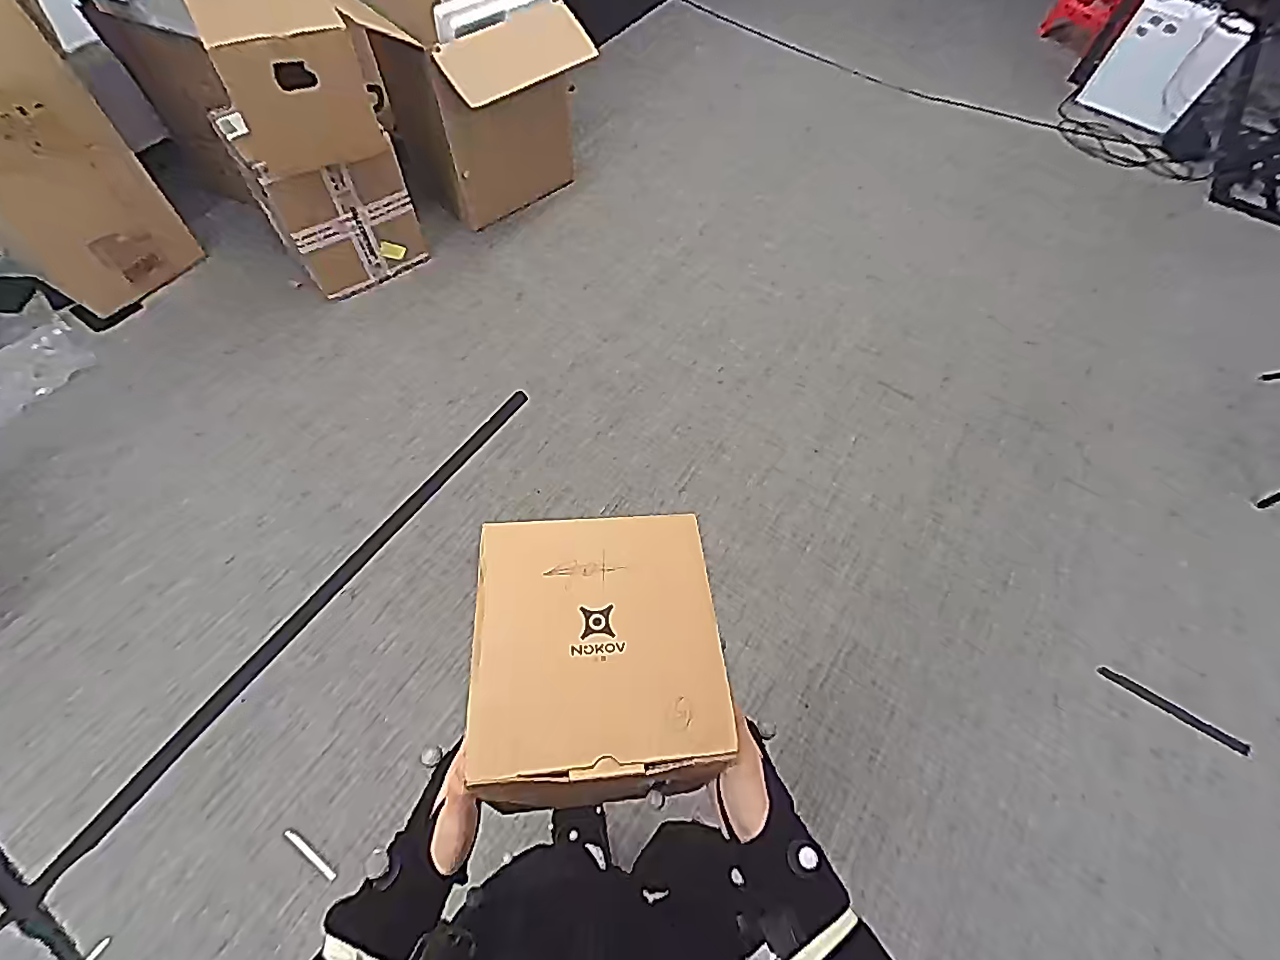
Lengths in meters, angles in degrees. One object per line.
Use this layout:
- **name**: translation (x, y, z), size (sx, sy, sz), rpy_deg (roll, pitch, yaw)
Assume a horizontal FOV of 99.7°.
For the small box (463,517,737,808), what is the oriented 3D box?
- **small box**: translation (-0.035, 0.149, 0.429), size (0.168, 0.176, 0.179), rpy_deg (-2, 53, -8)
